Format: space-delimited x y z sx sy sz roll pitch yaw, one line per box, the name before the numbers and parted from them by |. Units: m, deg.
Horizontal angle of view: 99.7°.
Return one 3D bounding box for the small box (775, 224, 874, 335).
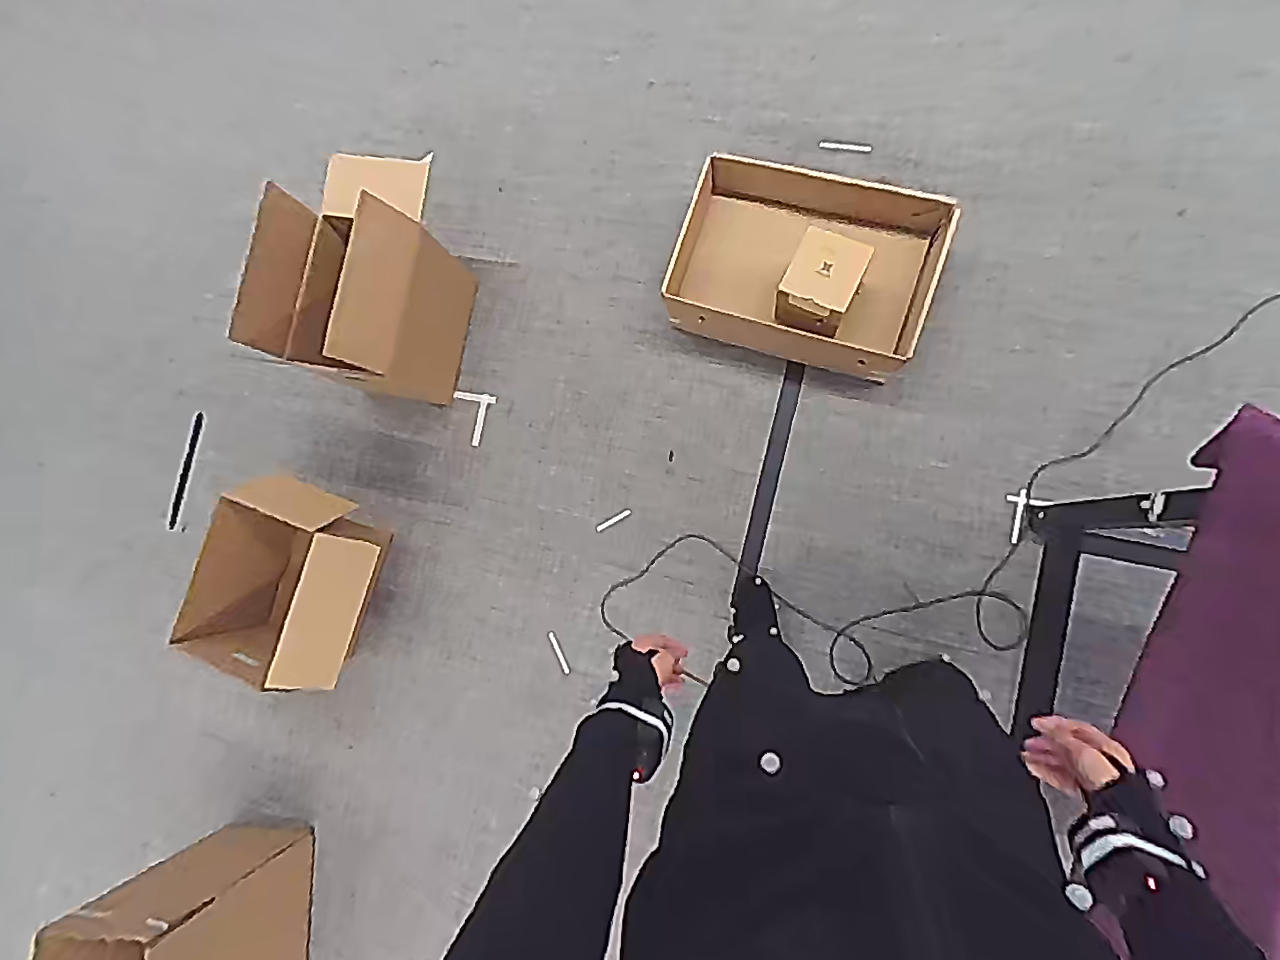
small box | 0.445 -0.483 1.332 0.168 0.176 0.179 26 90 12
